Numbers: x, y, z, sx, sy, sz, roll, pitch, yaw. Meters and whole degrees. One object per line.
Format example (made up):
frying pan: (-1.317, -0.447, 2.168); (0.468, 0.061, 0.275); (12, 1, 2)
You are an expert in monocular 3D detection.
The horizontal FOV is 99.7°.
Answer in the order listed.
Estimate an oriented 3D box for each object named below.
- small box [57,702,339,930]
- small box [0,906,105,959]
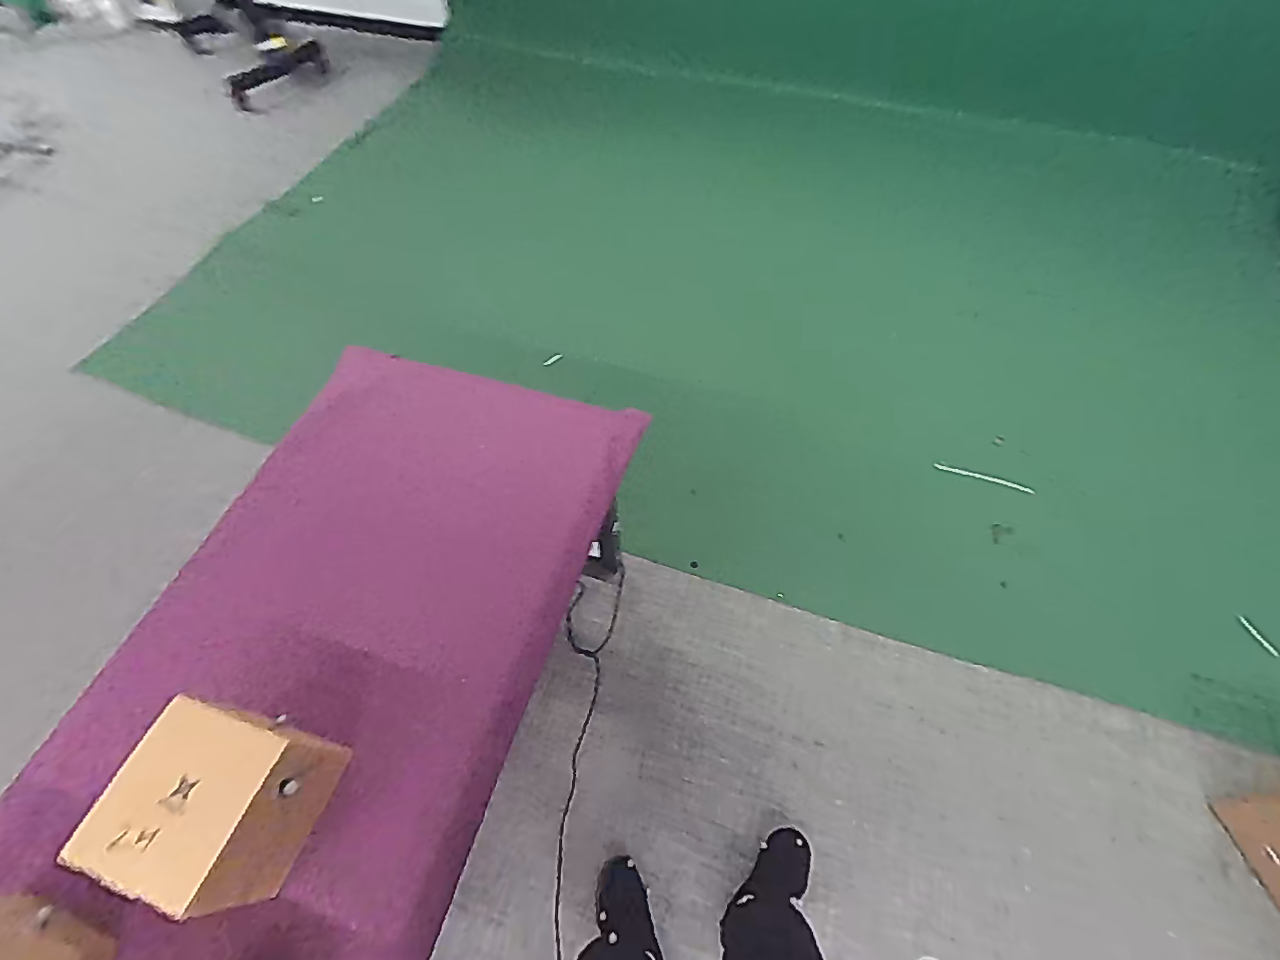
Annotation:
small box: (-0.509, 0.400, 0.662); (0.168, 0.176, 0.179); (16, 60, 10)
small box: (-0.736, 0.580, 0.555); (0.168, 0.176, 0.179); (16, 59, 9)
